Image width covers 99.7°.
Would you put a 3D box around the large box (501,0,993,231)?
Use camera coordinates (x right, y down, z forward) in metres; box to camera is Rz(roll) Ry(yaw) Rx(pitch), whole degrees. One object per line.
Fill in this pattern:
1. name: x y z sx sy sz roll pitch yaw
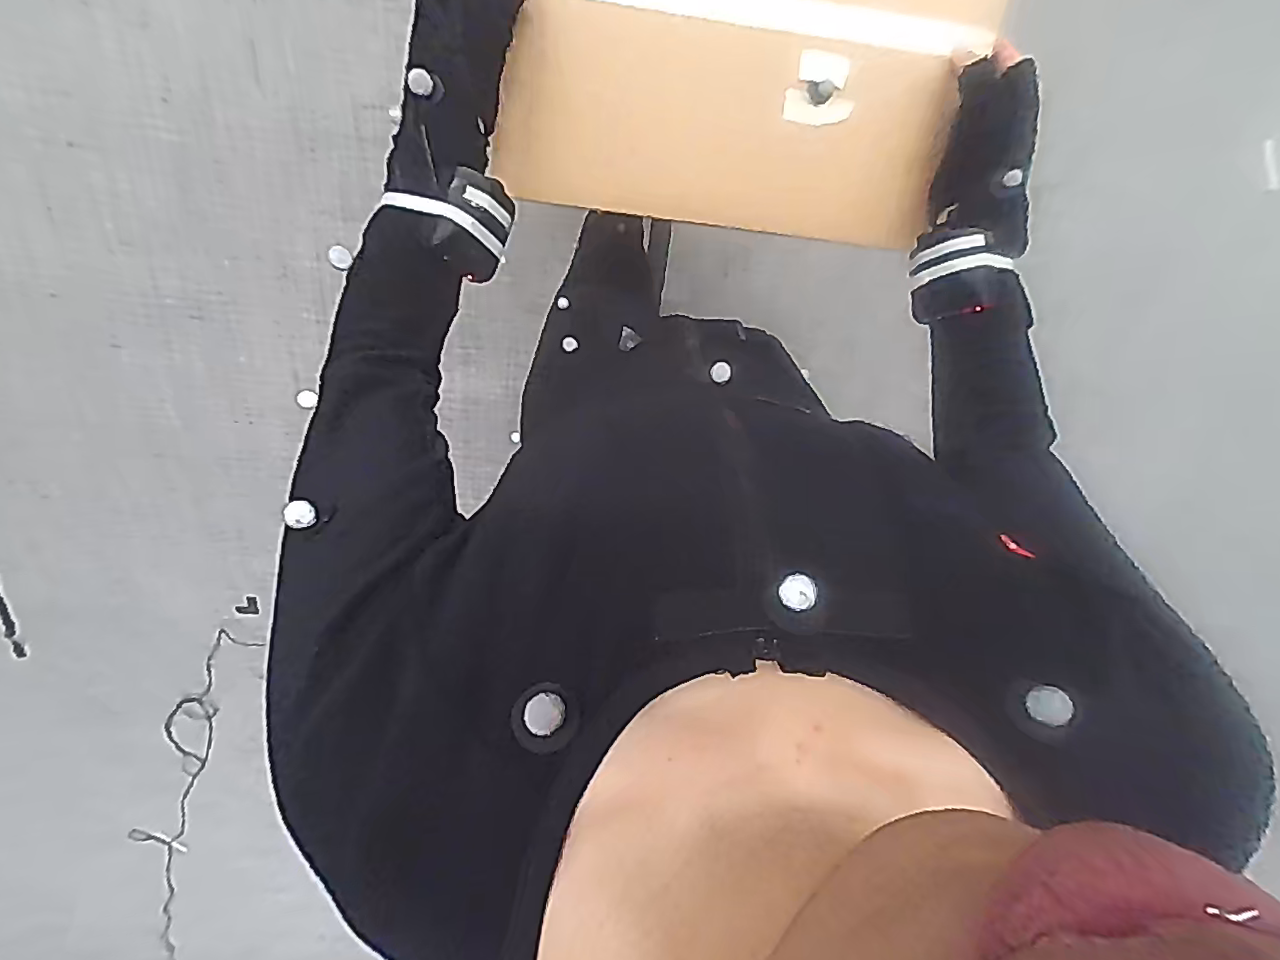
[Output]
1. large box: 0.079 -0.458 0.564 0.408 0.320 0.320 4 119 -6
